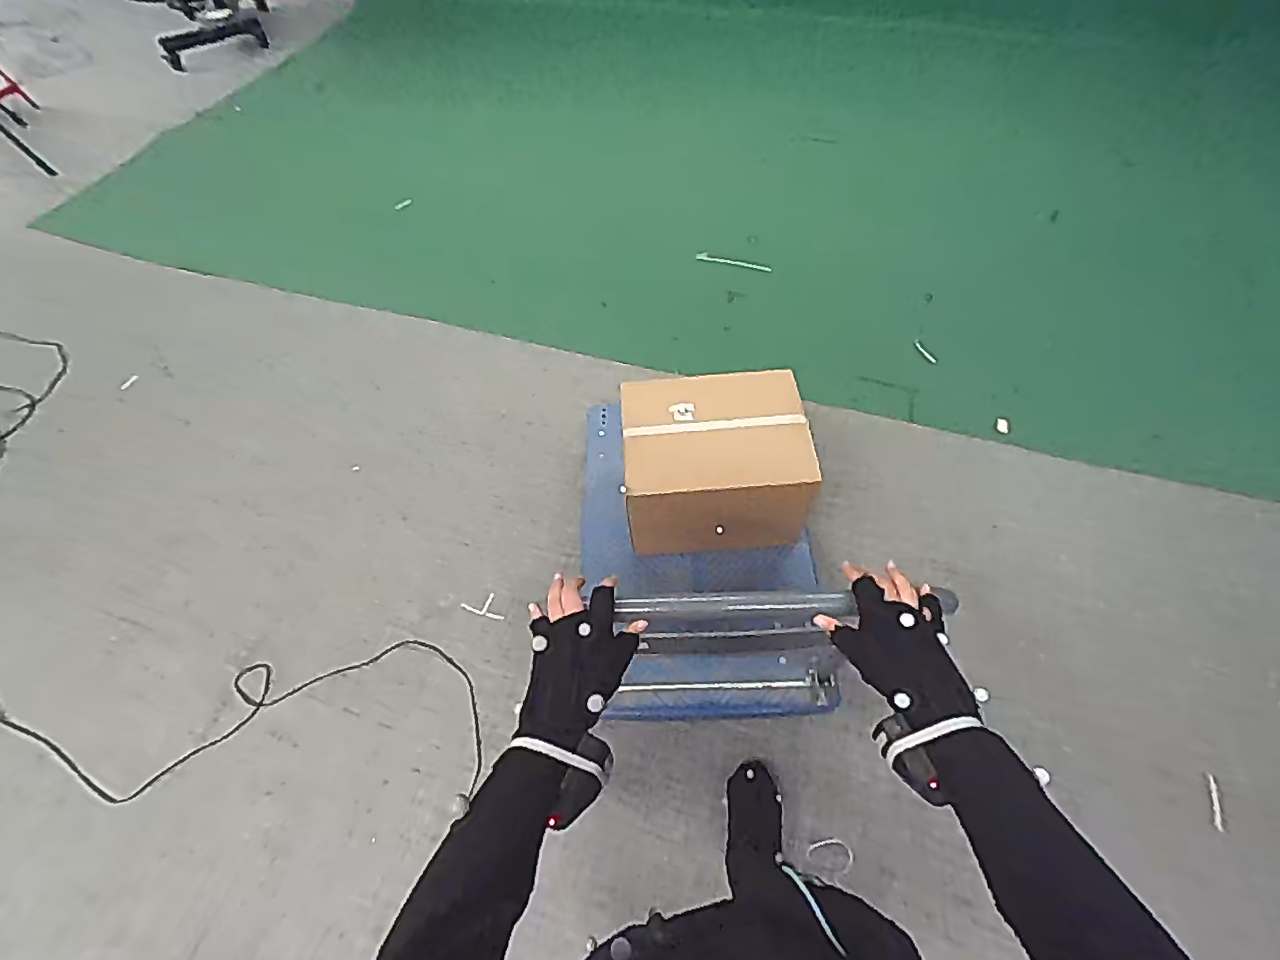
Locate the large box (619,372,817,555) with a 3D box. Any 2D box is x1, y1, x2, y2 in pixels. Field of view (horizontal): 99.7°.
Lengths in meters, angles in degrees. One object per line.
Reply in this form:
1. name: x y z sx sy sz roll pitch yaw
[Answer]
1. large box: 0.169 -0.029 1.314 0.408 0.320 0.320 -5 57 2
